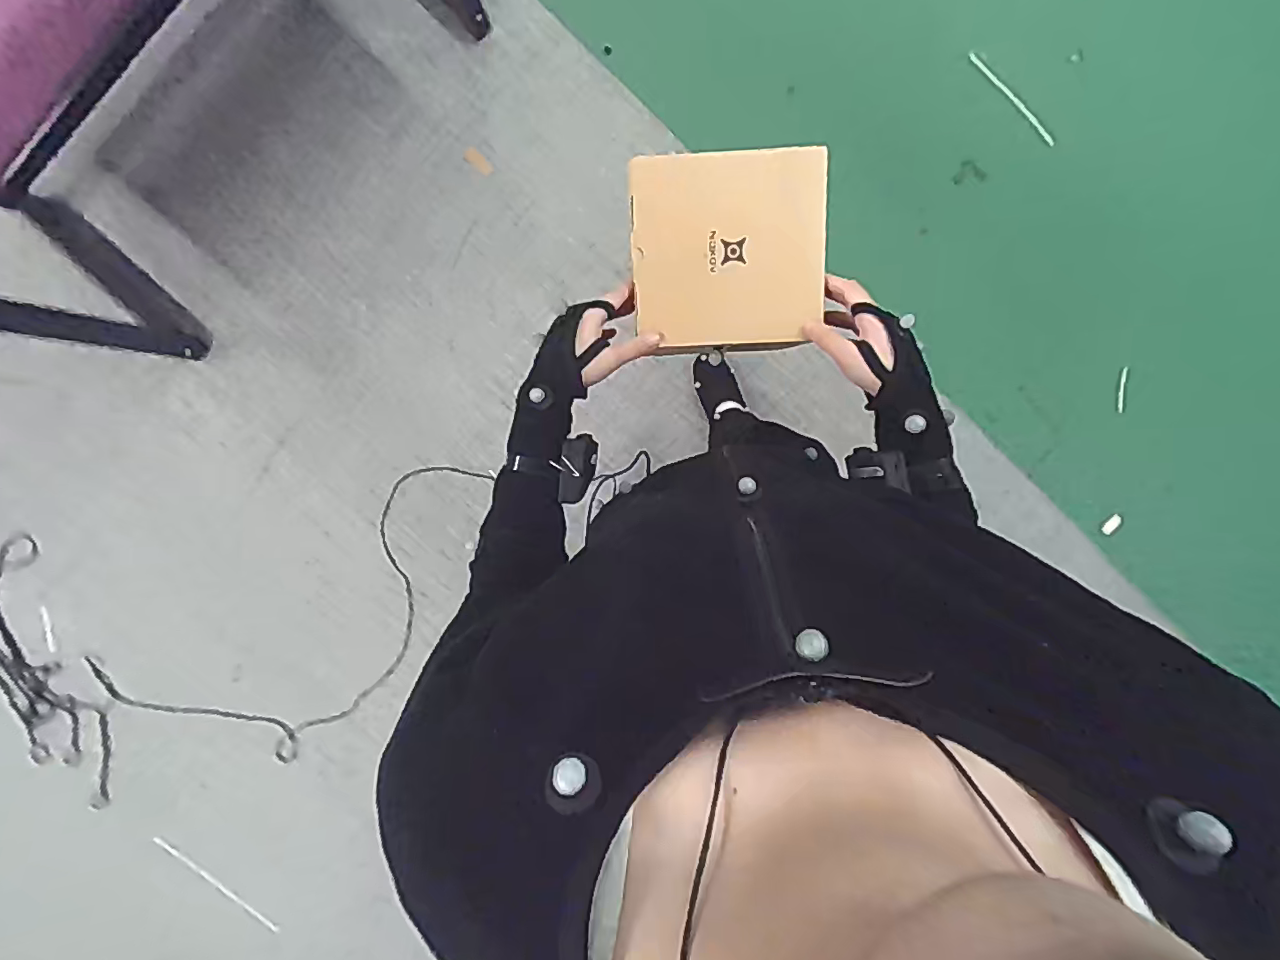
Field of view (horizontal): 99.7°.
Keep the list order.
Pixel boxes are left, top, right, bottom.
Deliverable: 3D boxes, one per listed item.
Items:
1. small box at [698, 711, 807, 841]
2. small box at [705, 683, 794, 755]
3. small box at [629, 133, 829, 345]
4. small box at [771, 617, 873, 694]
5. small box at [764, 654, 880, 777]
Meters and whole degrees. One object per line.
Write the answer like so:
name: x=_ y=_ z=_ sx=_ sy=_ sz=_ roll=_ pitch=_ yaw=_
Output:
small box: x=0.257 y=0.691 z=1.284 sx=0.179 sy=0.176 sz=0.168 roll=39 pitch=94 yaw=-2
small box: x=0.286 y=0.684 z=1.447 sx=0.168 sy=0.176 sz=0.179 roll=35 pitch=96 yaw=-1
small box: x=0.086 y=-0.233 z=0.565 sx=0.179 sy=0.176 sz=0.168 roll=-4 pitch=102 yaw=5
small box: x=0.466 y=0.492 z=1.420 sx=0.168 sy=0.176 sz=0.179 roll=38 pitch=98 yaw=-1
small box: x=0.412 y=0.536 z=1.263 sx=0.179 sy=0.176 sz=0.168 roll=36 pitch=98 yaw=0
